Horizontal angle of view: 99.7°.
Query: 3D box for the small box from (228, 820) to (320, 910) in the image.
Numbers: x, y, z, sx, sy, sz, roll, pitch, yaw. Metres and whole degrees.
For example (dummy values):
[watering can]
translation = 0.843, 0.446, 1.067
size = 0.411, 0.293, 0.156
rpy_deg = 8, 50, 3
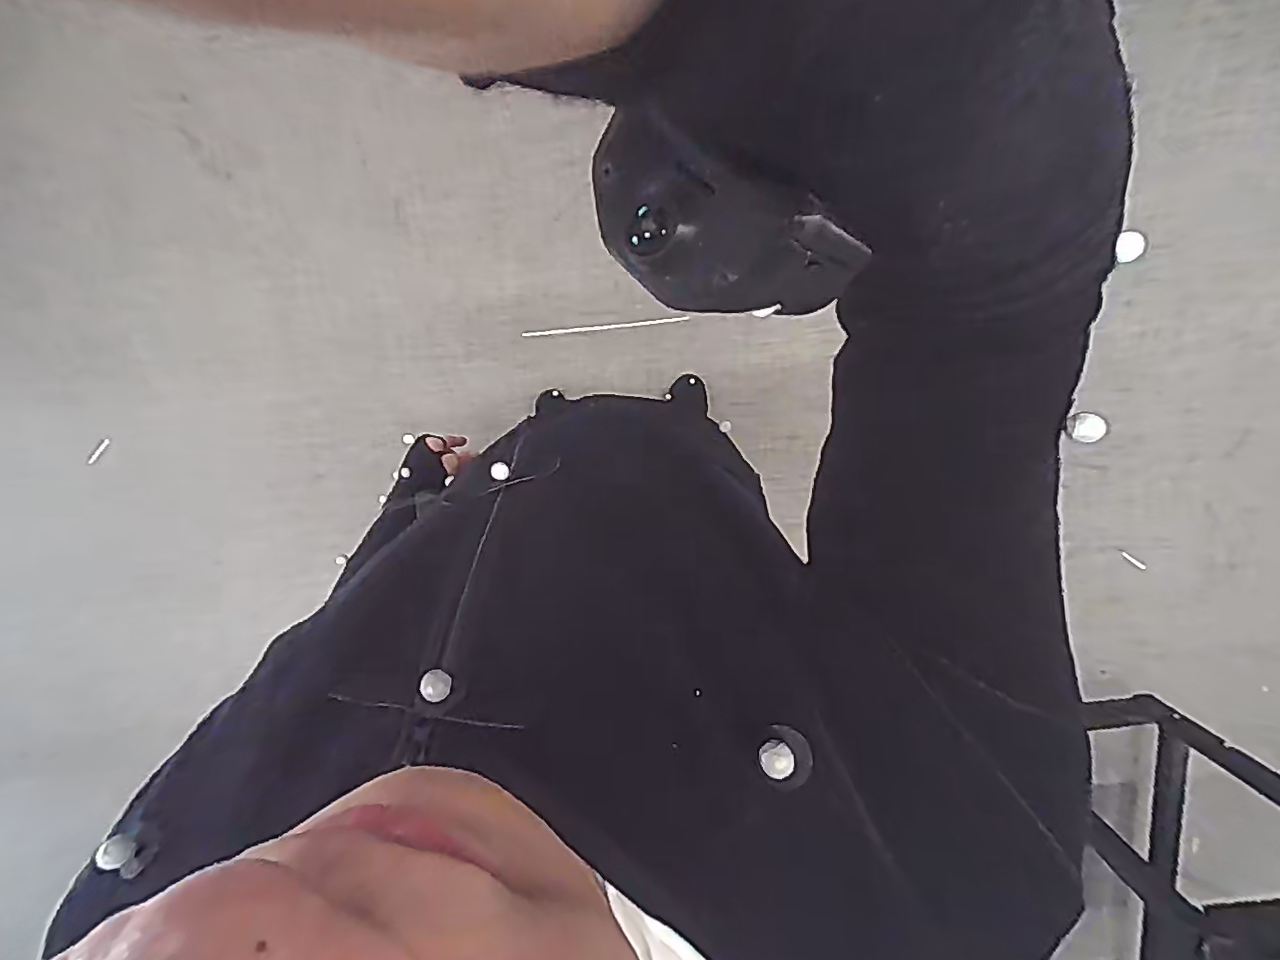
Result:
[small box]
translation = -1.135, 1.199, 1.694
size = 0.179, 0.176, 0.168
rpy_deg = -2, 100, 0
